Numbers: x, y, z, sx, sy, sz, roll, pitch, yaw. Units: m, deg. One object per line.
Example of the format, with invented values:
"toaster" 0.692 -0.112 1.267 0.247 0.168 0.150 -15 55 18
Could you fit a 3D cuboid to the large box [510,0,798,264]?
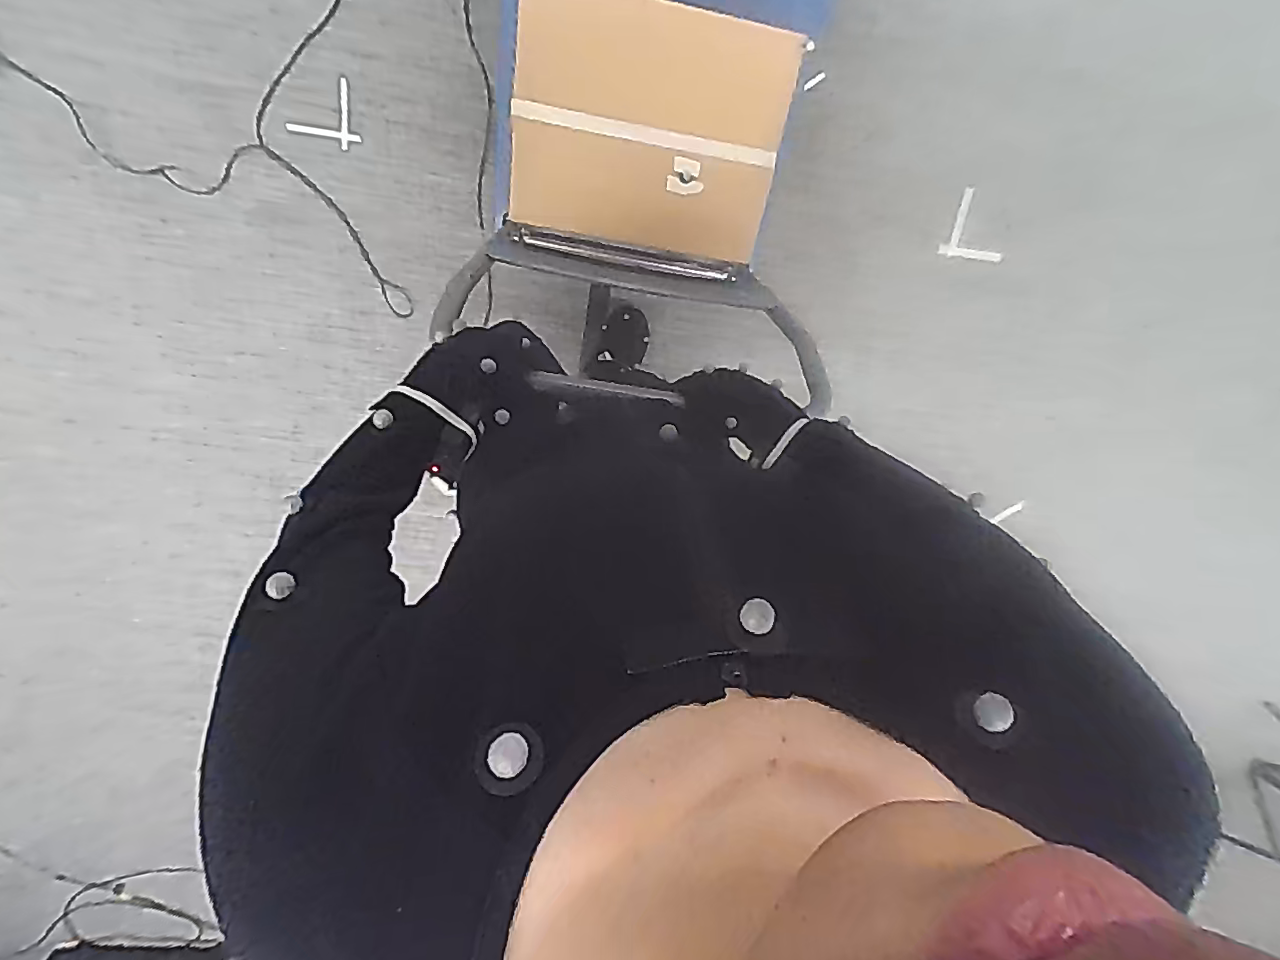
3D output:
"large box" -0.003 -0.590 0.944 0.408 0.320 0.320 6 121 -8
